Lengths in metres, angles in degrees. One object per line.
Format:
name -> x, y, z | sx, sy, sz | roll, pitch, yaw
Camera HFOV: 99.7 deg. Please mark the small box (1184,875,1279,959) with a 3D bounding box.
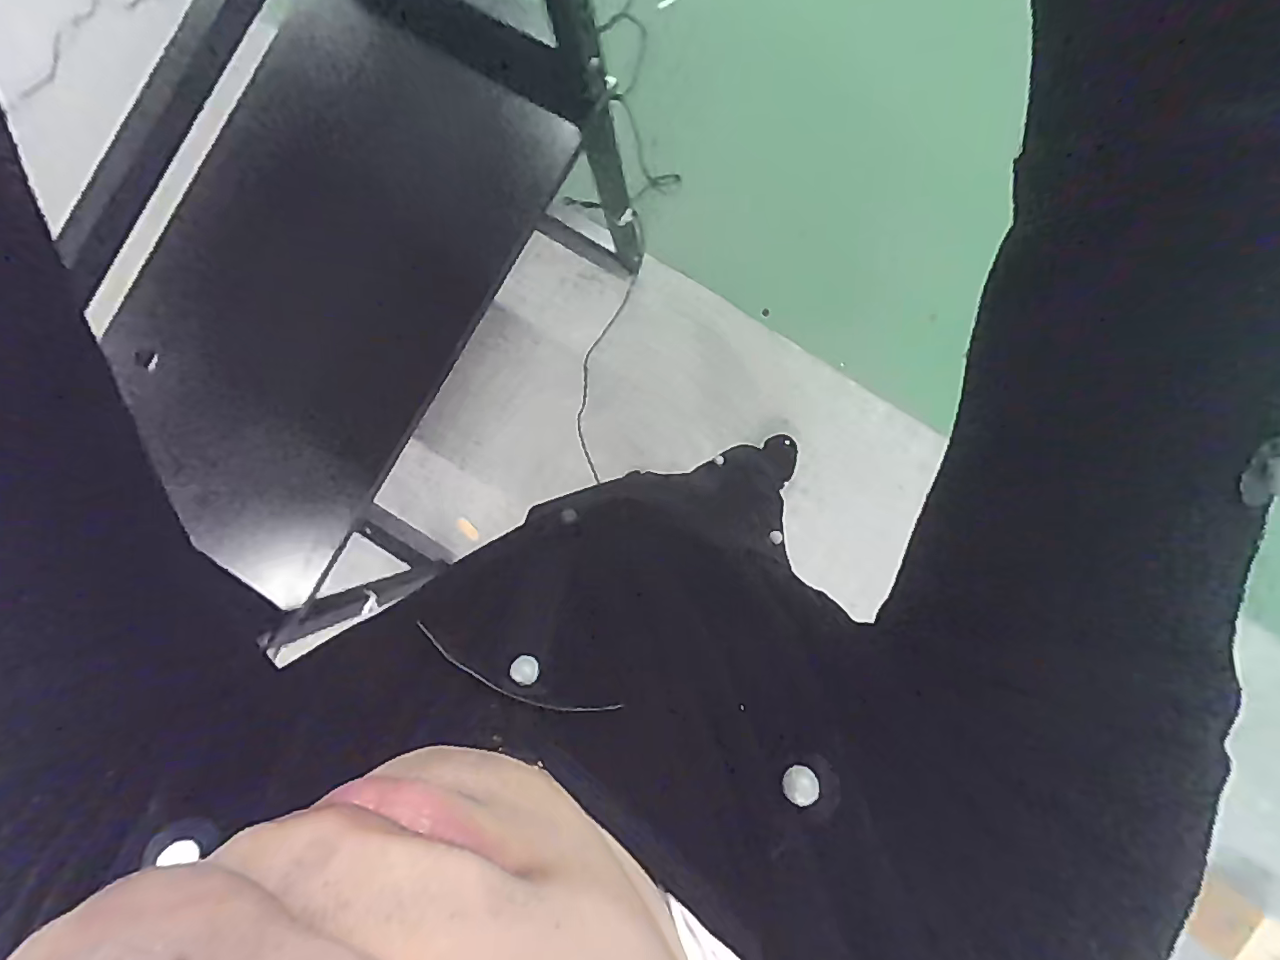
small box -> 1.579, 1.177, 1.387 | 0.168, 0.176, 0.179 | 32, 92, 5
